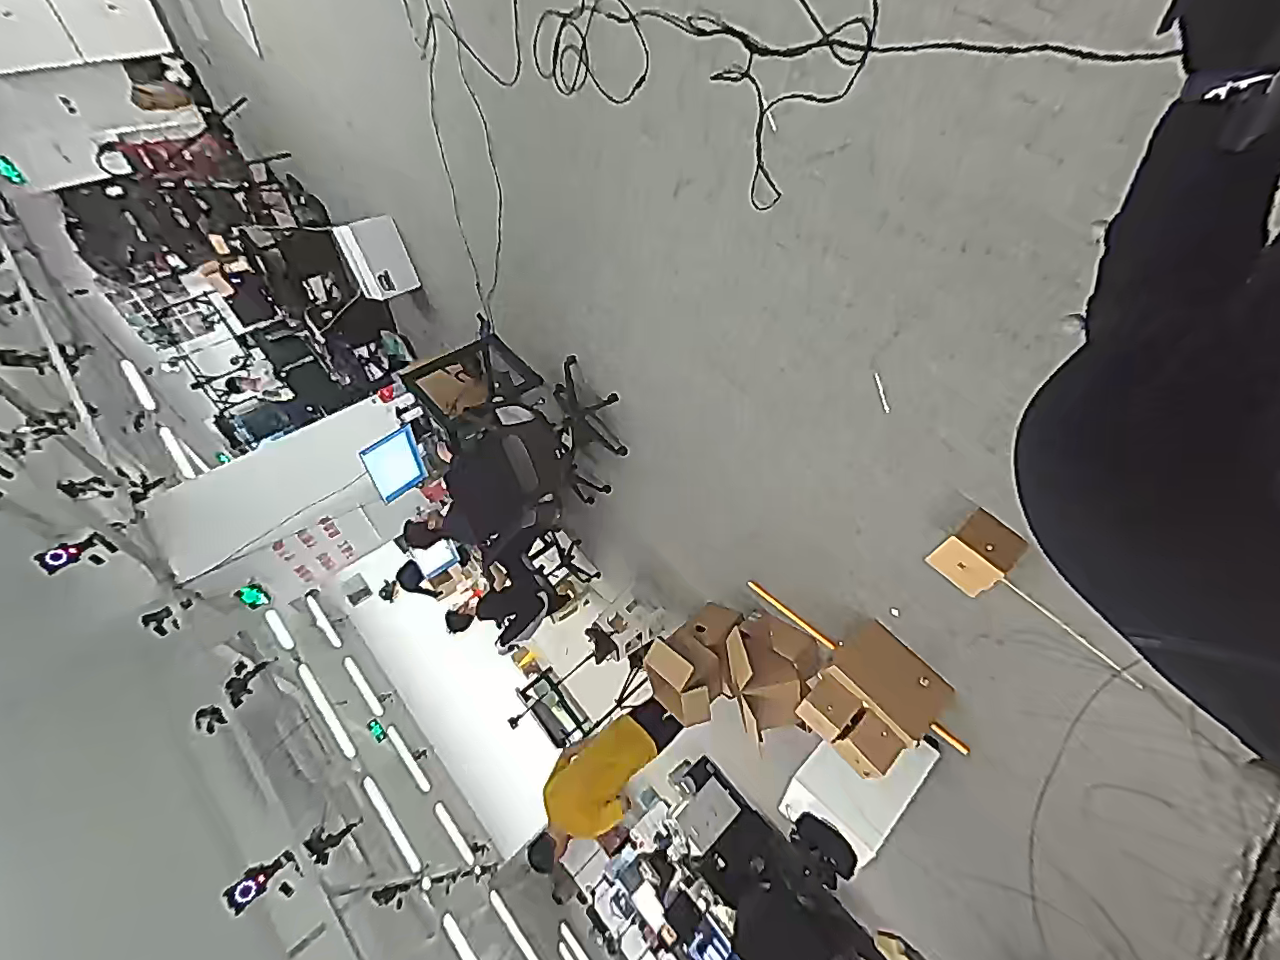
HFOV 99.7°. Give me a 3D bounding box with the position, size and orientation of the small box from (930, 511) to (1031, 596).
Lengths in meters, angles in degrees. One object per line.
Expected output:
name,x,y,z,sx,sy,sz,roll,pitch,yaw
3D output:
small box,1.054,0.220,1.676,0.179,0.176,0.168,42,151,22
